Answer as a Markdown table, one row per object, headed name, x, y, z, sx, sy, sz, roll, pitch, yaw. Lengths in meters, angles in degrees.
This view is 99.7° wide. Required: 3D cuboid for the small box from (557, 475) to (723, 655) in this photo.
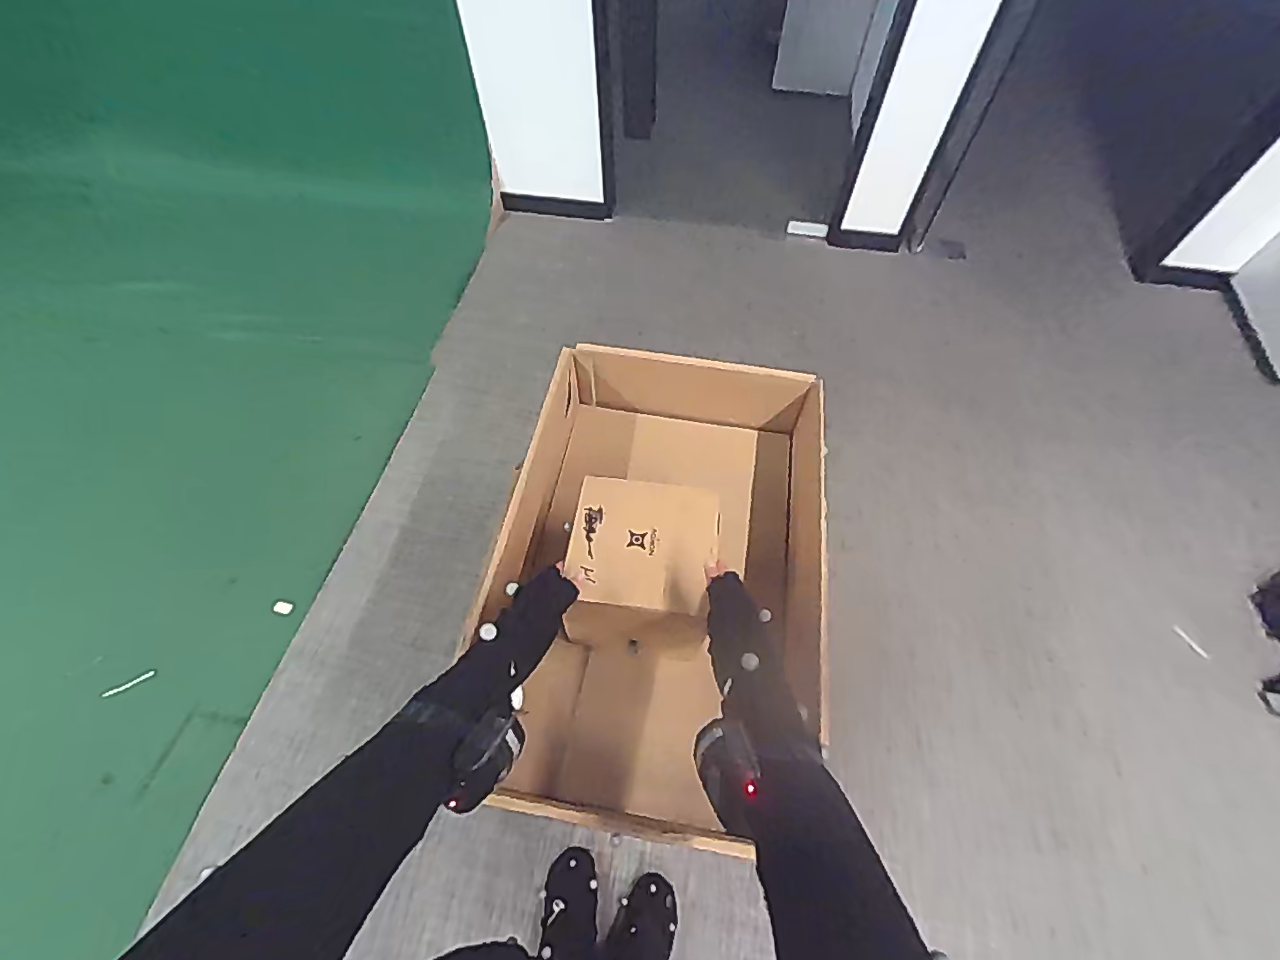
| name | x | y | z | sx | sy | sz | roll | pitch | yaw |
| --- | --- | --- | --- | --- | --- | --- | --- | --- | --- |
| small box | 0.002 | 0.116 | 0.699 | 0.179 | 0.176 | 0.168 | 8 | 56 | 3 |
